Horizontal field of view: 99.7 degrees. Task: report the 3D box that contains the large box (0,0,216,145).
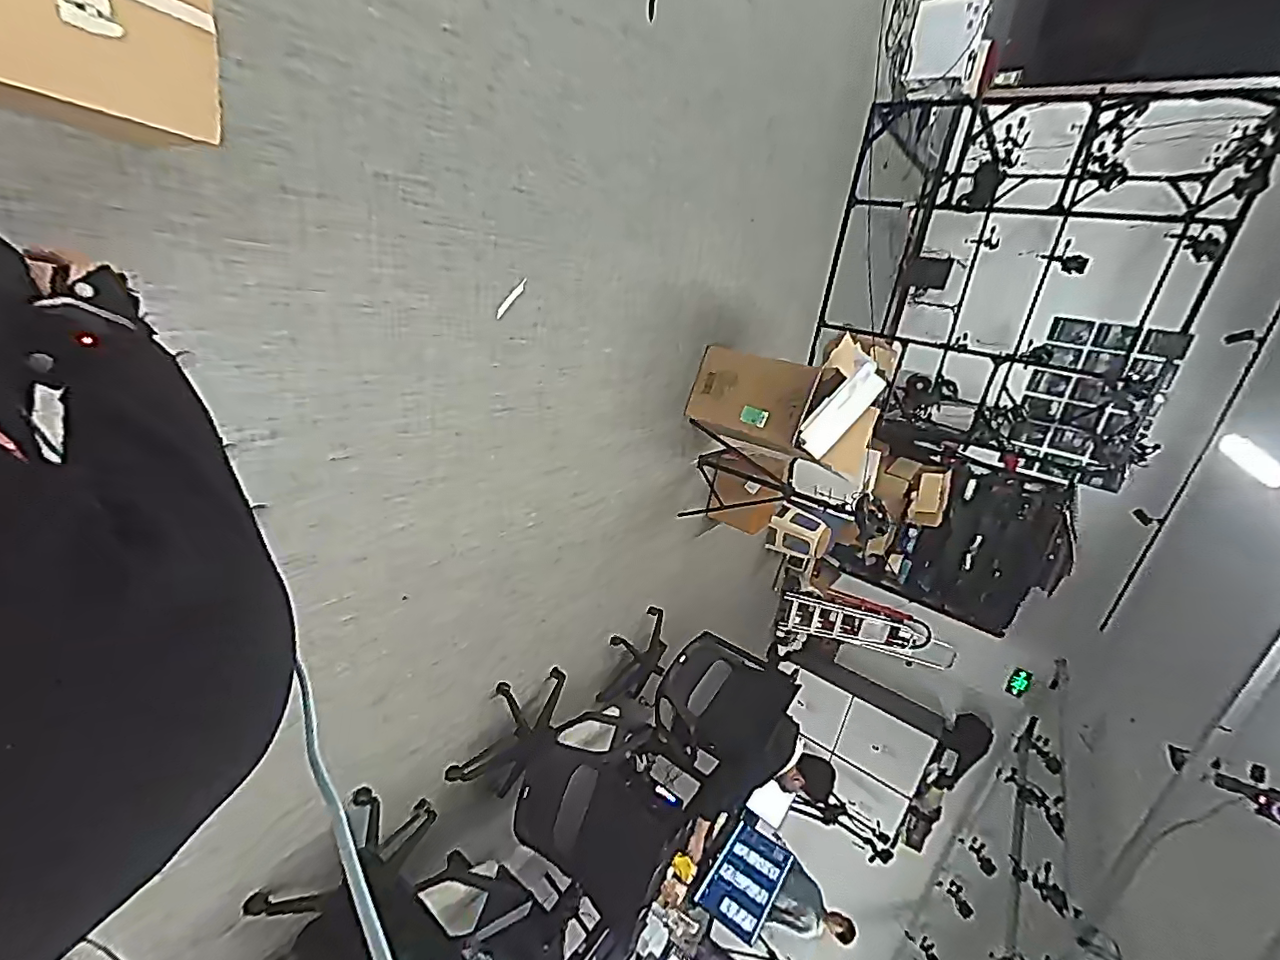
[{"bbox_3d":[-0.858,-0.668,0.696,0.408,0.320,0.320,-16,121,-55],"label":"large box"}]
